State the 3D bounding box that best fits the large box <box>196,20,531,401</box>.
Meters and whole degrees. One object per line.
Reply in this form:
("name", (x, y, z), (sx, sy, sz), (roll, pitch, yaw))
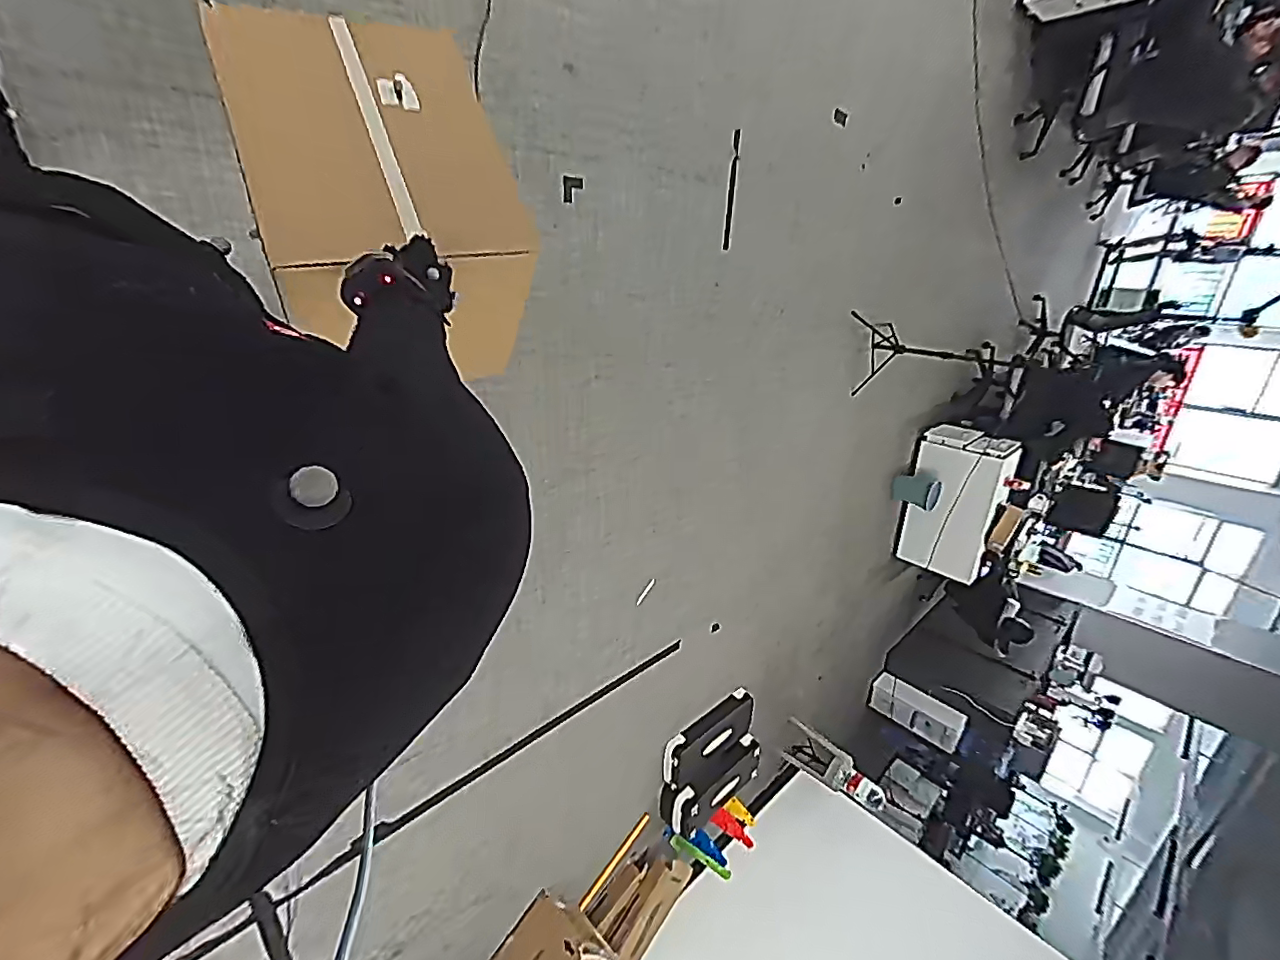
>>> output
("large box", (-0.408, -0.391, 0.839), (0.320, 0.320, 0.408), (-17, 75, -30))
